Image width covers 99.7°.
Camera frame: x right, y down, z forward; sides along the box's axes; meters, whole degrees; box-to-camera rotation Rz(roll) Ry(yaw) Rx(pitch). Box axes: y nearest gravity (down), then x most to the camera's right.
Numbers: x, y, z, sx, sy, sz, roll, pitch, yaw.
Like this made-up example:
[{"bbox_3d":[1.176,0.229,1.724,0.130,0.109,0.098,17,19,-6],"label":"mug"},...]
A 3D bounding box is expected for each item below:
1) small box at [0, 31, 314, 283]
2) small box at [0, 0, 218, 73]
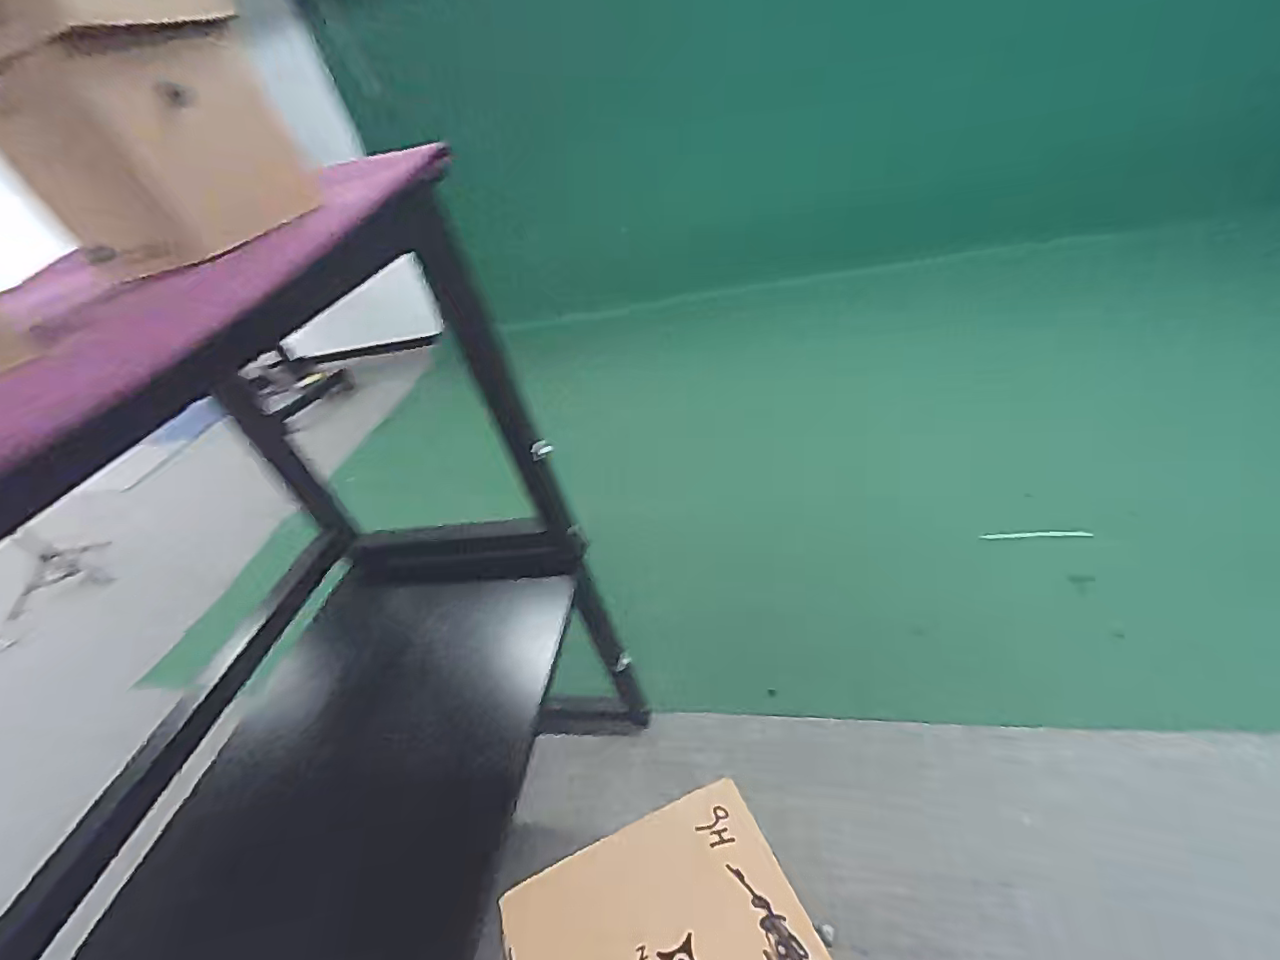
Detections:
[{"bbox_3d":[-0.478,-0.310,0.538,0.168,0.176,0.179,-2,41,20],"label":"small box"},{"bbox_3d":[-0.505,-0.430,0.431,0.168,0.176,0.179,-5,40,17],"label":"small box"}]
